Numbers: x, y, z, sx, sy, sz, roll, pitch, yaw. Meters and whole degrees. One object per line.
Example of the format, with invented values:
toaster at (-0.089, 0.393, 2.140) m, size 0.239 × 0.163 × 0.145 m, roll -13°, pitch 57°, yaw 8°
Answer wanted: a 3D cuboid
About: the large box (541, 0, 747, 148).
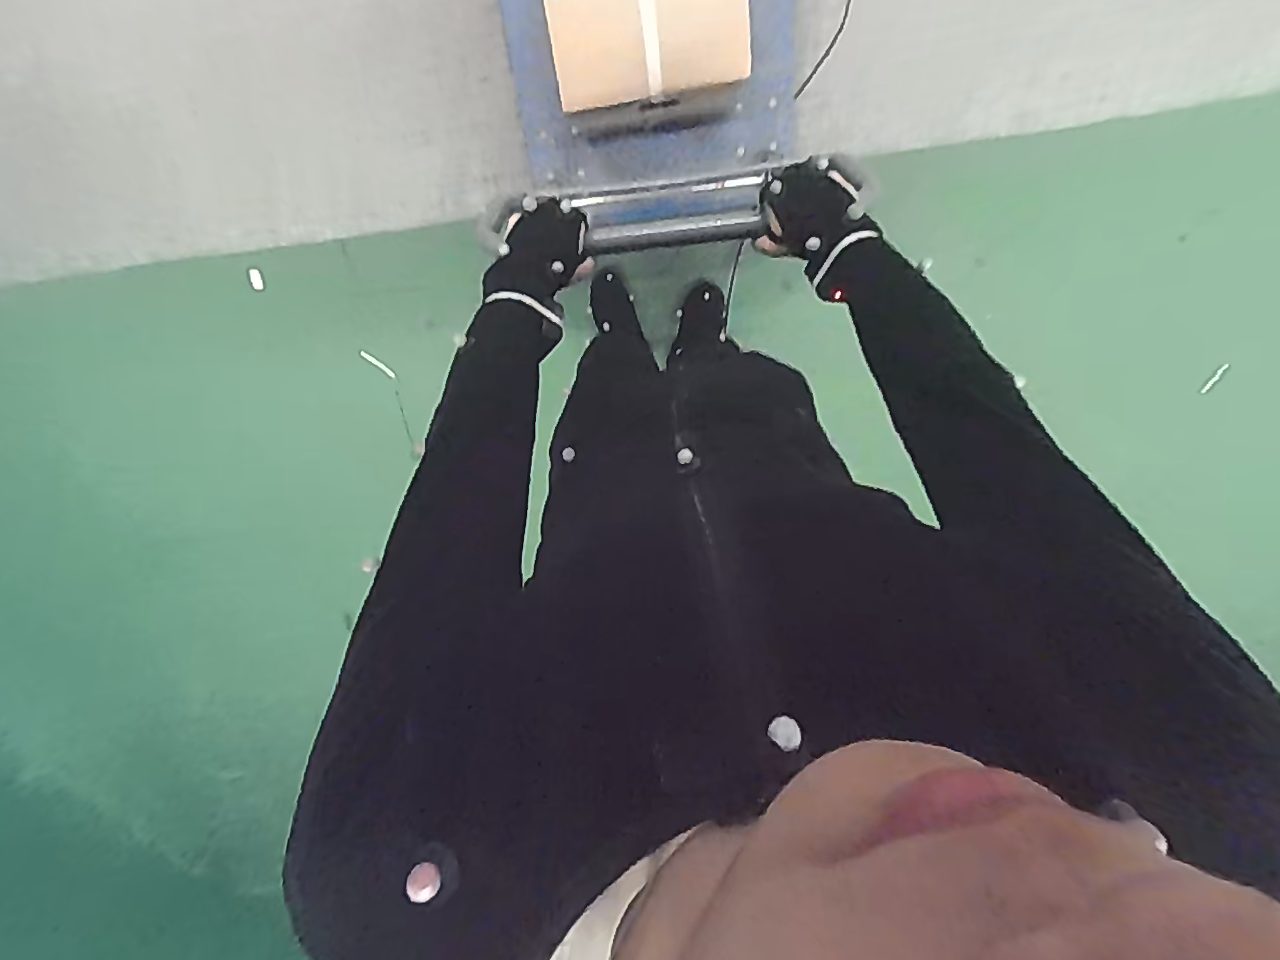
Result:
large box at (0.000, -0.859, 0.952) m, size 0.320 × 0.320 × 0.408 m, roll -7°, pitch 115°, yaw 6°
